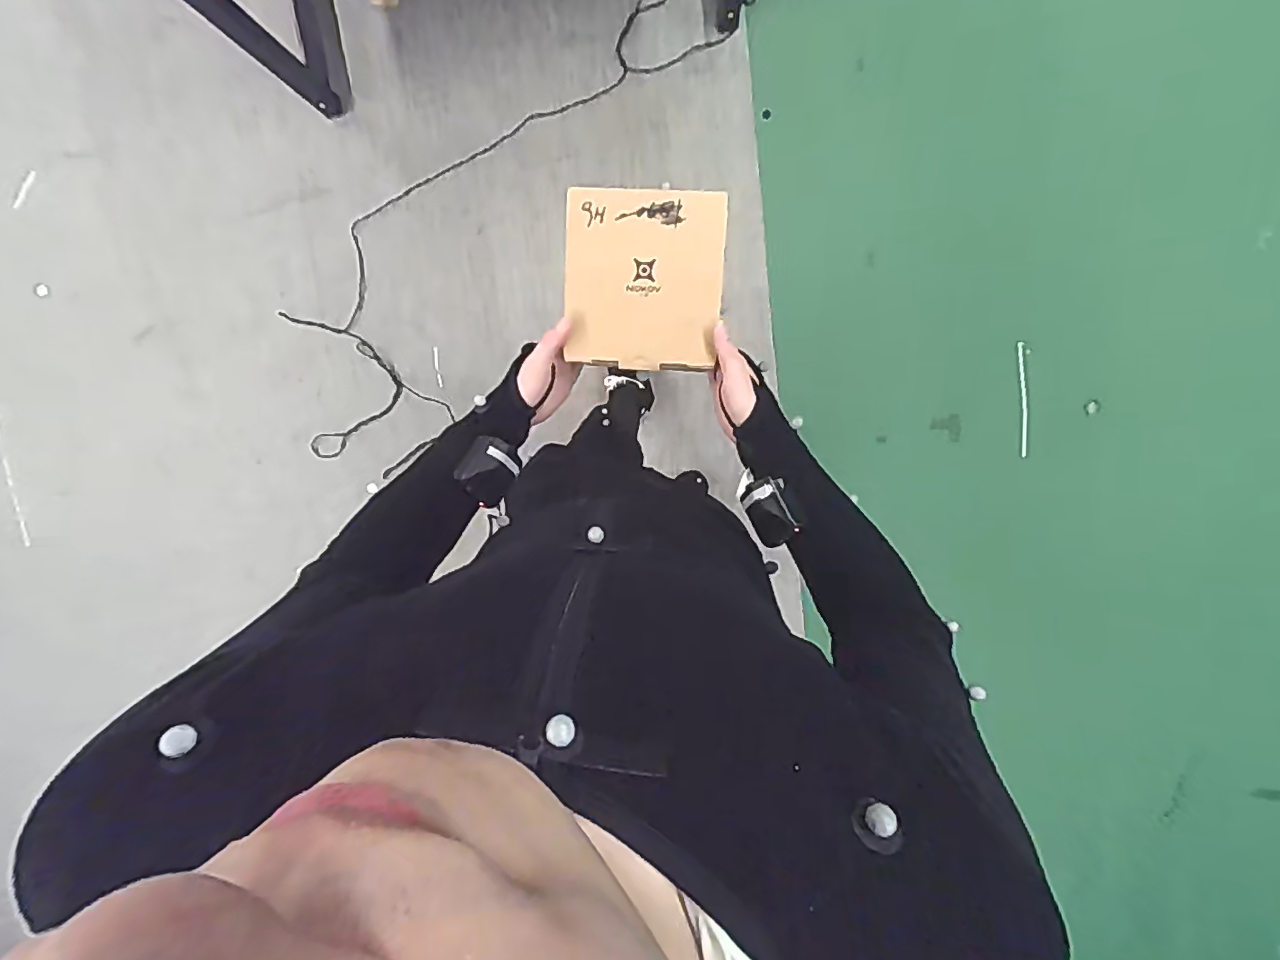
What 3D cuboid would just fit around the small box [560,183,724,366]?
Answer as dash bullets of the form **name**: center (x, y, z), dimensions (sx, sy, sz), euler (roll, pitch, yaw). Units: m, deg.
- **small box**: center (0.005, -0.226, 0.636), dimensions (0.168, 0.176, 0.179), euler (3, 101, 3)
